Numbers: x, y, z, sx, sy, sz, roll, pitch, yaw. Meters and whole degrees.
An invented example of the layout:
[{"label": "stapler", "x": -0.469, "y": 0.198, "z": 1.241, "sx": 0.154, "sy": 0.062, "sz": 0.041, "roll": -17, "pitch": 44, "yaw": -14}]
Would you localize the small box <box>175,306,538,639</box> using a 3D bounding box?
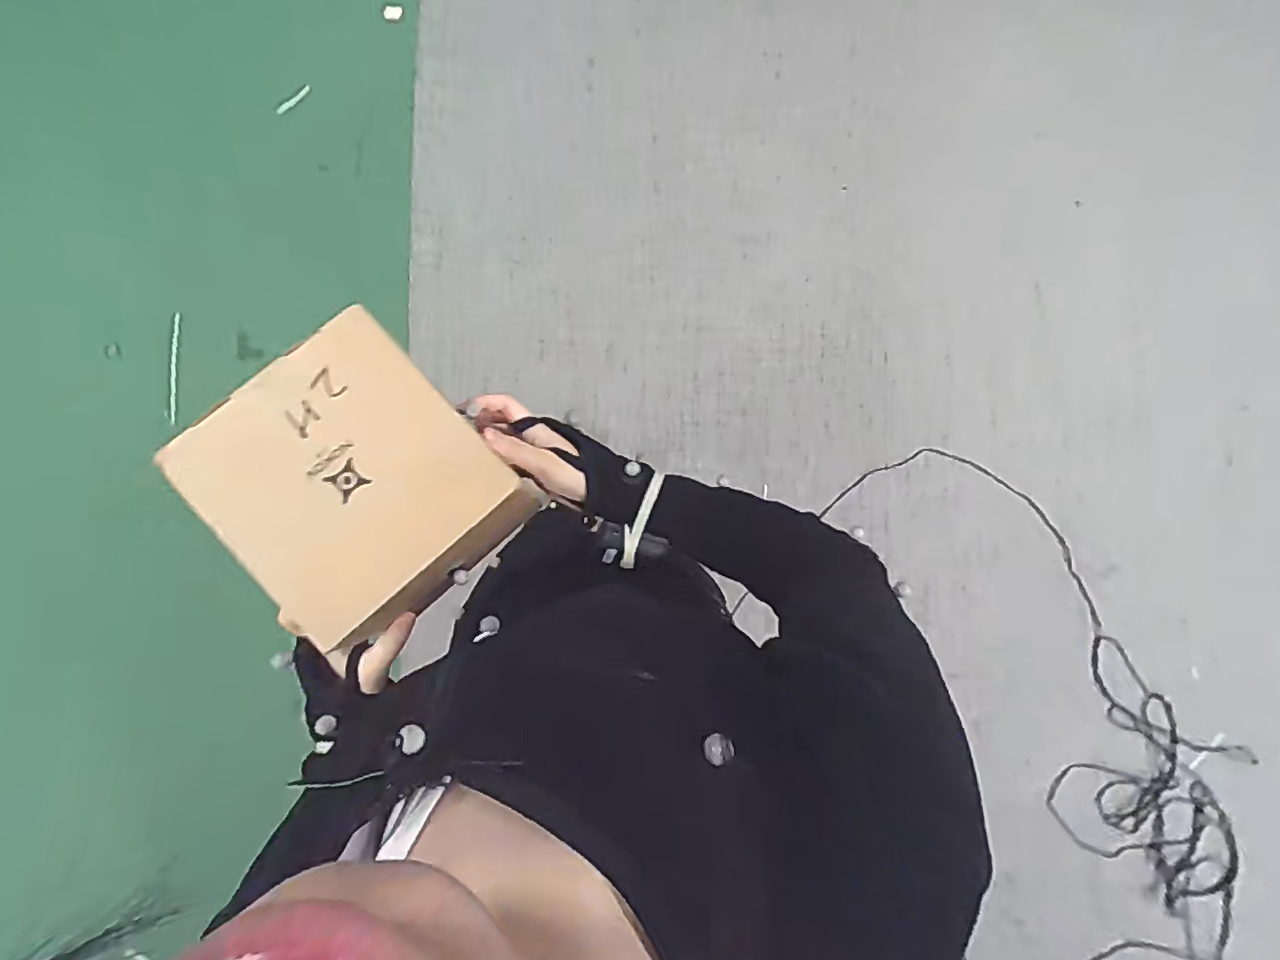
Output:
[{"label": "small box", "x": -0.203, "y": 0.000, "z": 0.448, "sx": 0.168, "sy": 0.176, "sz": 0.179, "roll": -40, "pitch": 87, "yaw": -9}]
